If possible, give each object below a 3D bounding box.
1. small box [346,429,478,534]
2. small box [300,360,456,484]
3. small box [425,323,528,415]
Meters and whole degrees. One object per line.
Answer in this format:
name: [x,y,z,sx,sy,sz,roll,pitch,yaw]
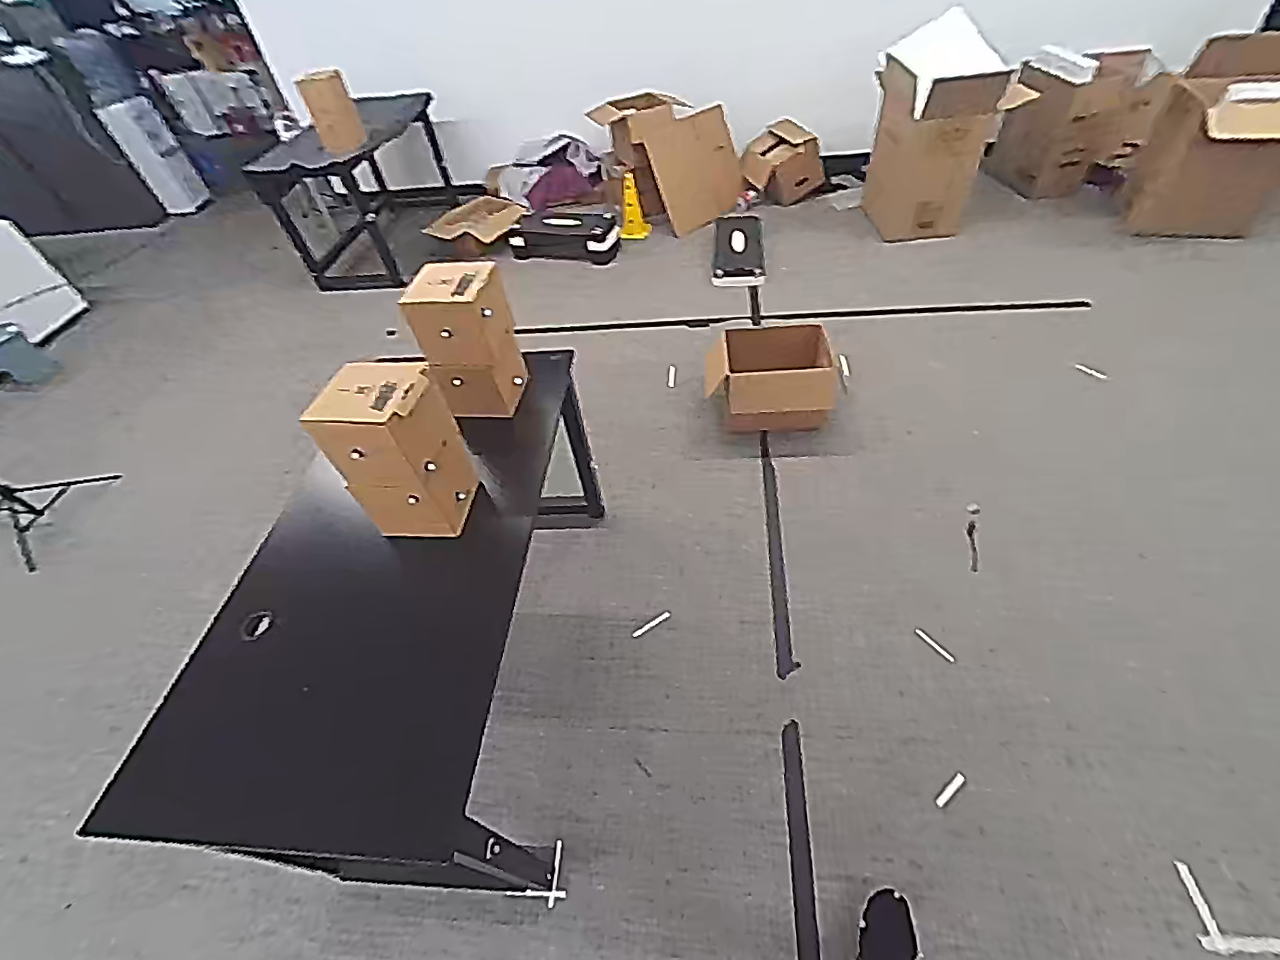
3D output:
small box: [-0.469,0.001,1.143,0.179,0.176,0.168,0,49,7]
small box: [-0.477,-0.106,1.020,0.179,0.176,0.168,4,49,11]
small box: [-0.406,-0.281,1.374,0.179,0.176,0.168,3,51,10]
